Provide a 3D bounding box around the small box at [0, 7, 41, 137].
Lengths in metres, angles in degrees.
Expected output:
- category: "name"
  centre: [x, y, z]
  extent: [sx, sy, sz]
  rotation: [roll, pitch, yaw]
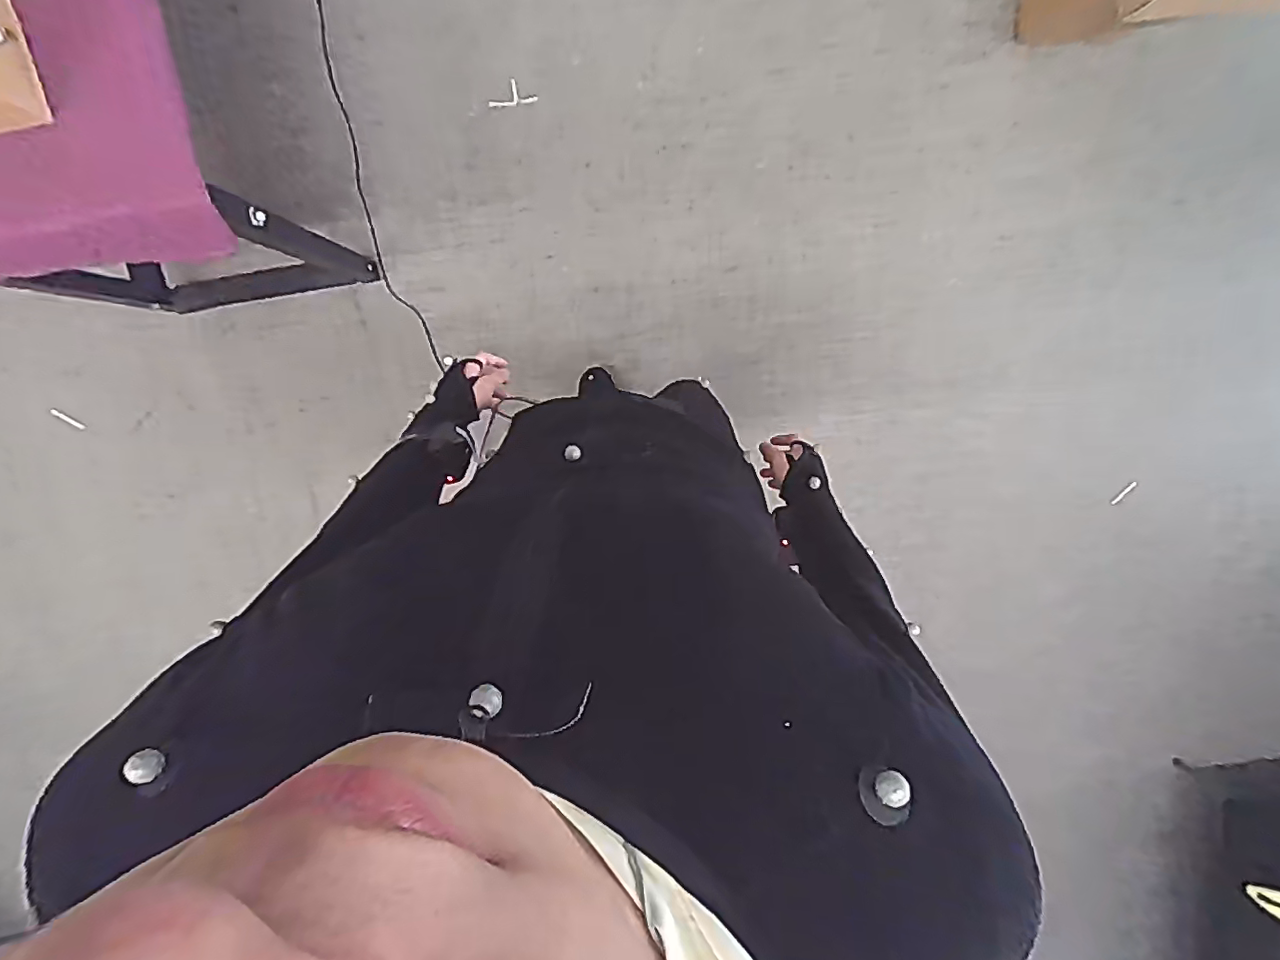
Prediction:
- category: "small box"
  centre: [-0.937, -0.544, 0.671]
  extent: [0.179, 0.176, 0.168]
  rotation: [-11, 101, 0]
